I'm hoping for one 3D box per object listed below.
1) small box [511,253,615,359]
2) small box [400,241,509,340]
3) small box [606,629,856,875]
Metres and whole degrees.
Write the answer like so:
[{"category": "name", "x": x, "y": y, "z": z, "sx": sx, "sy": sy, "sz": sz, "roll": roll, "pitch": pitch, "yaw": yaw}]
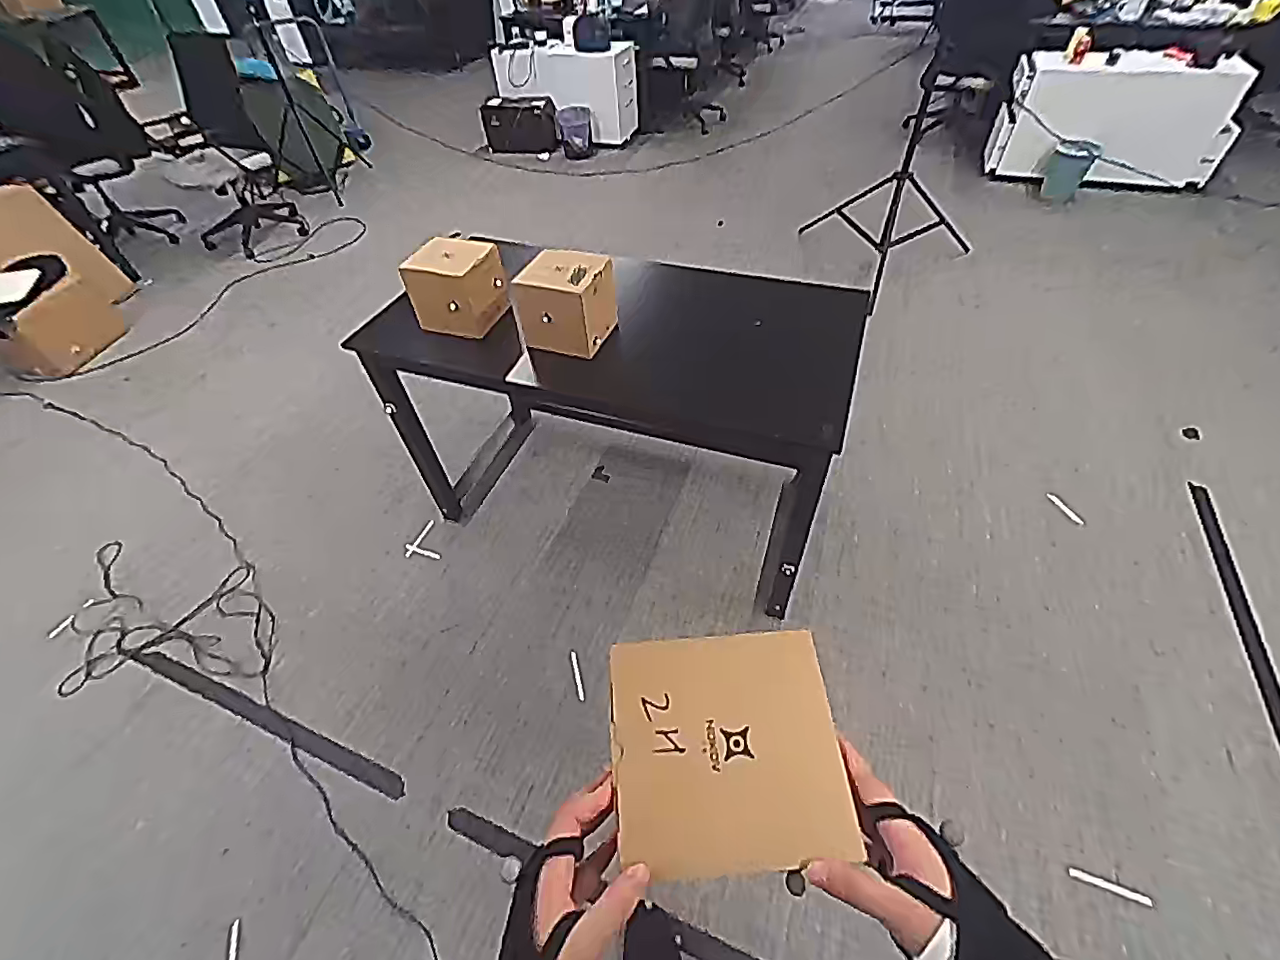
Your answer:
[{"category": "small box", "x": -0.170, "y": -0.406, "z": 1.267, "sx": 0.179, "sy": 0.176, "sz": 0.168, "roll": 14, "pitch": 51, "yaw": 17}, {"category": "small box", "x": -0.449, "y": -0.467, "z": 1.341, "sx": 0.179, "sy": 0.176, "sz": 0.168, "roll": 12, "pitch": 49, "yaw": 14}, {"category": "small box", "x": 0.062, "y": 0.243, "z": 0.487, "sx": 0.179, "sy": 0.176, "sz": 0.168, "roll": -4, "pitch": 57, "yaw": -2}]
